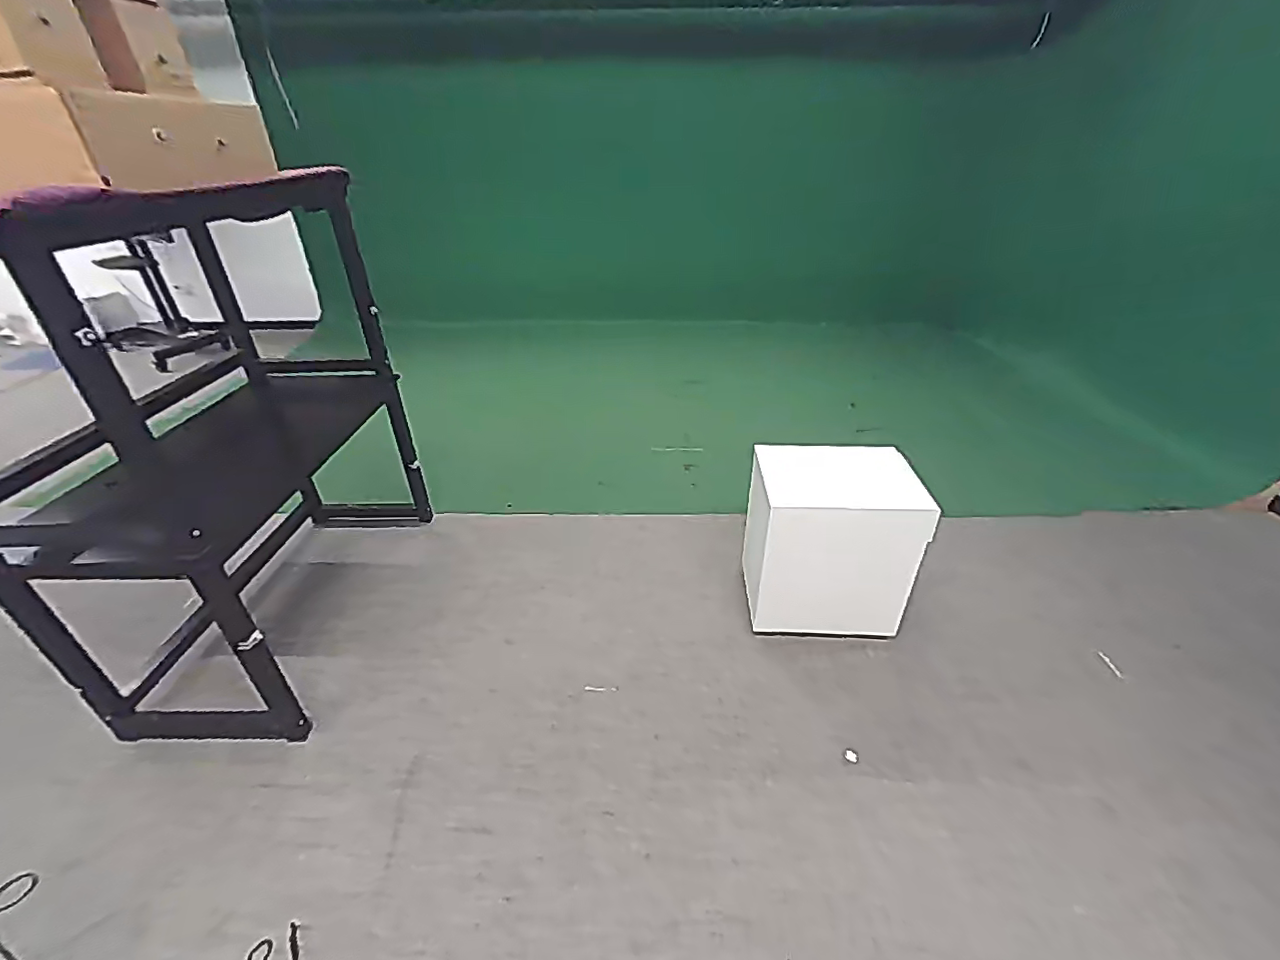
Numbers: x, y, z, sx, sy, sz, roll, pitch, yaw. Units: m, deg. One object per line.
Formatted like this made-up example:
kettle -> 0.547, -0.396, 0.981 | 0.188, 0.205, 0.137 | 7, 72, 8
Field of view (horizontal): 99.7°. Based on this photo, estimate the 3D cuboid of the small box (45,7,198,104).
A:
small box -> -1.254, -1.030, 1.324 | 0.179, 0.176, 0.168 | 0, 33, 3

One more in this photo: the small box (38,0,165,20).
small box -> -1.255, -1.160, 1.225 | 0.179, 0.176, 0.168 | 1, 33, 4
